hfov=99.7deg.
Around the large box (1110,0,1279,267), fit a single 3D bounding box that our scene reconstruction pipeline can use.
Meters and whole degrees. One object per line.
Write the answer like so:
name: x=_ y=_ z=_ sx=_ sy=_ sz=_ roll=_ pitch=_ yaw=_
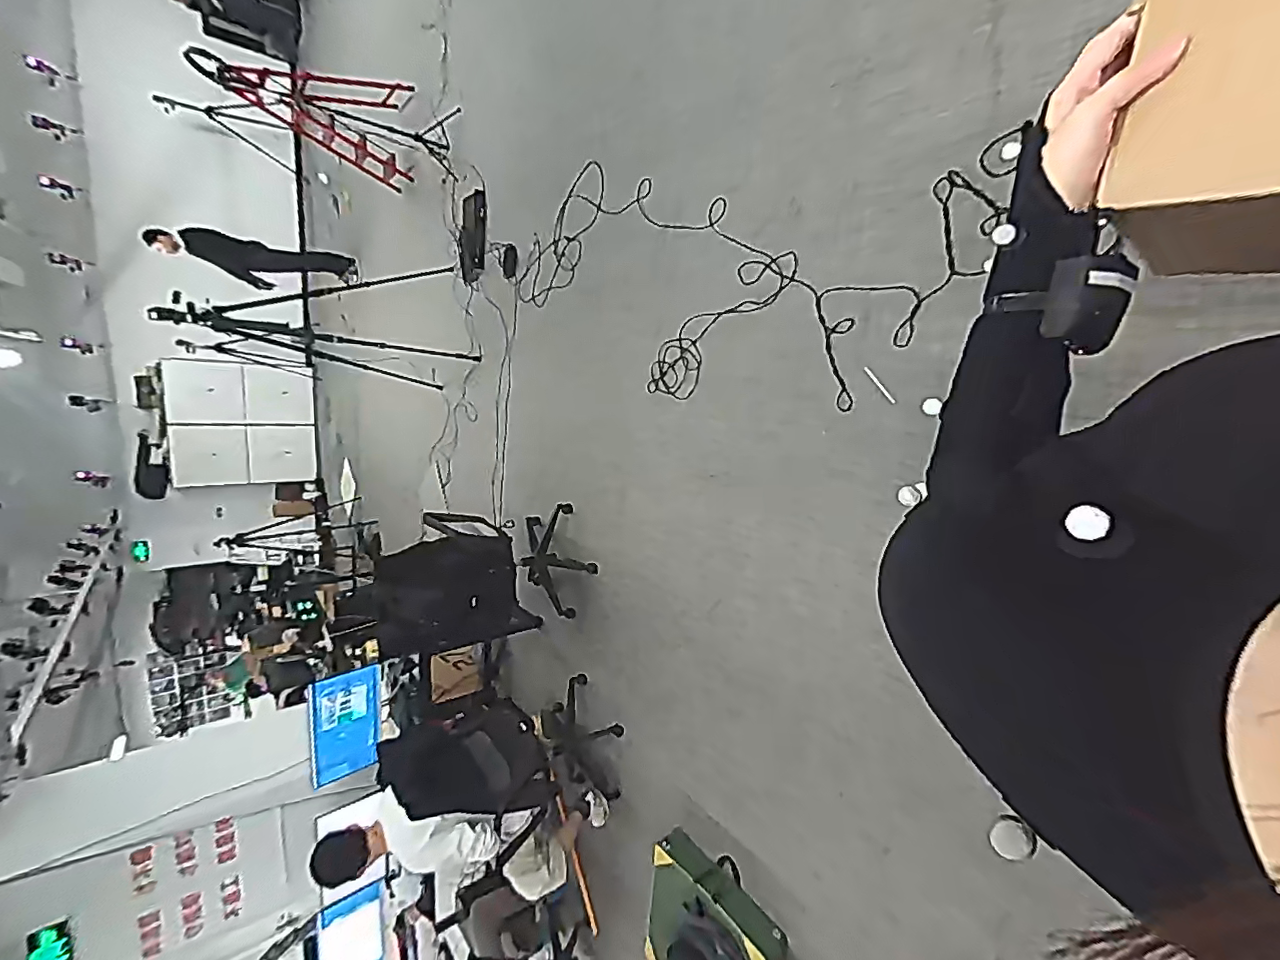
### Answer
large box: x=0.590 y=-0.326 z=0.322 sx=0.408 sy=0.320 sz=0.320 roll=18 pitch=109 yaw=45
